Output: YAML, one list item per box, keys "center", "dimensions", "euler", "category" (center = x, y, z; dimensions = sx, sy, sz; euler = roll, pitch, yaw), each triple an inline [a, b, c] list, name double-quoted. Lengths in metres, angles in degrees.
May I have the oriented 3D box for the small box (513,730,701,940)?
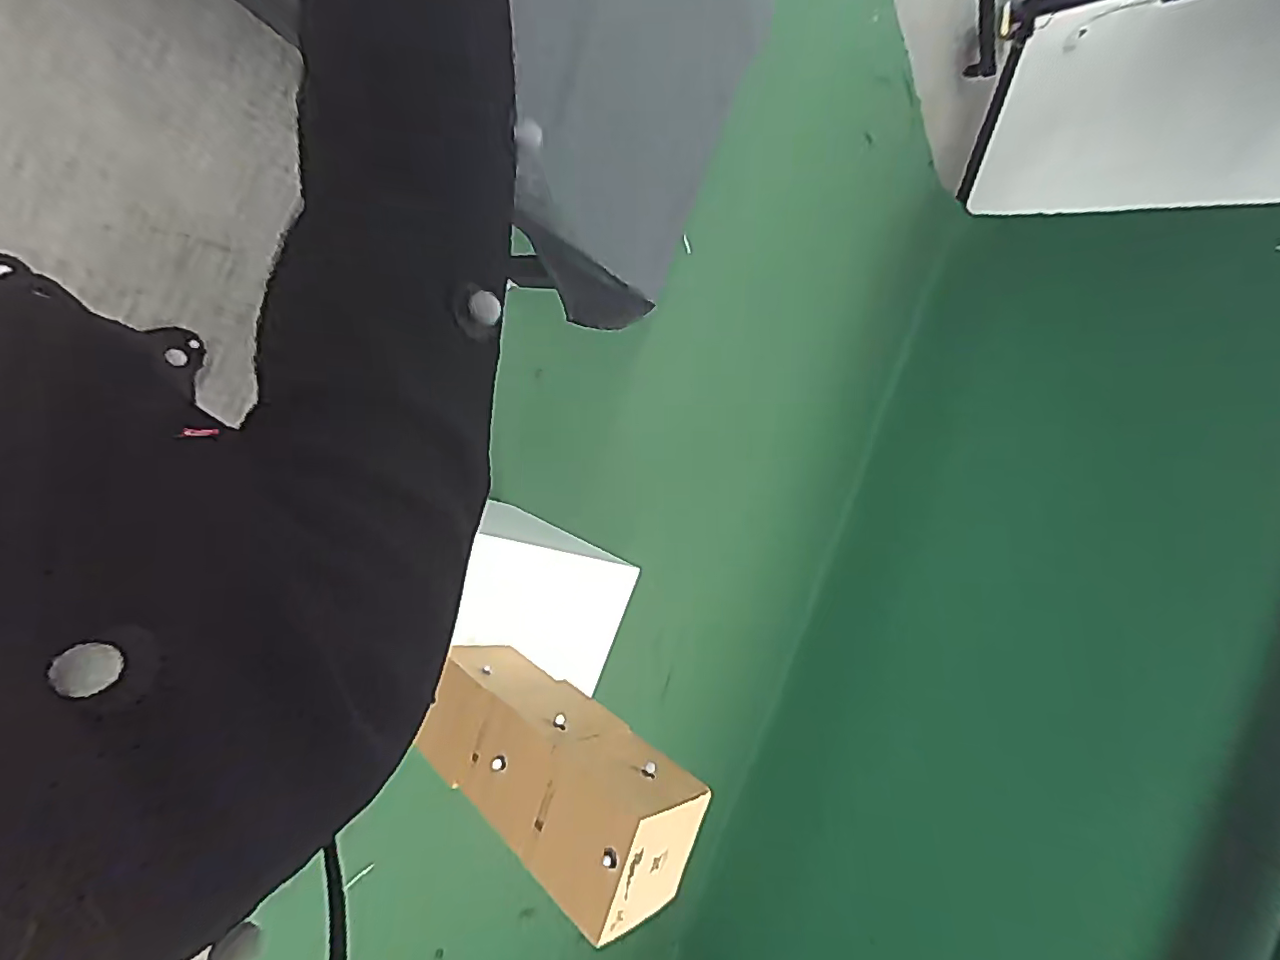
- center: [-0.046, 0.483, 0.775]
  dimensions: [0.179, 0.176, 0.168]
  euler: [21, 88, -52]
  category: "small box"

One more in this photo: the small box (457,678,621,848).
- center: [-0.166, 0.441, 0.878]
  dimensions: [0.179, 0.176, 0.168]
  euler: [17, 91, -51]
  category: "small box"
